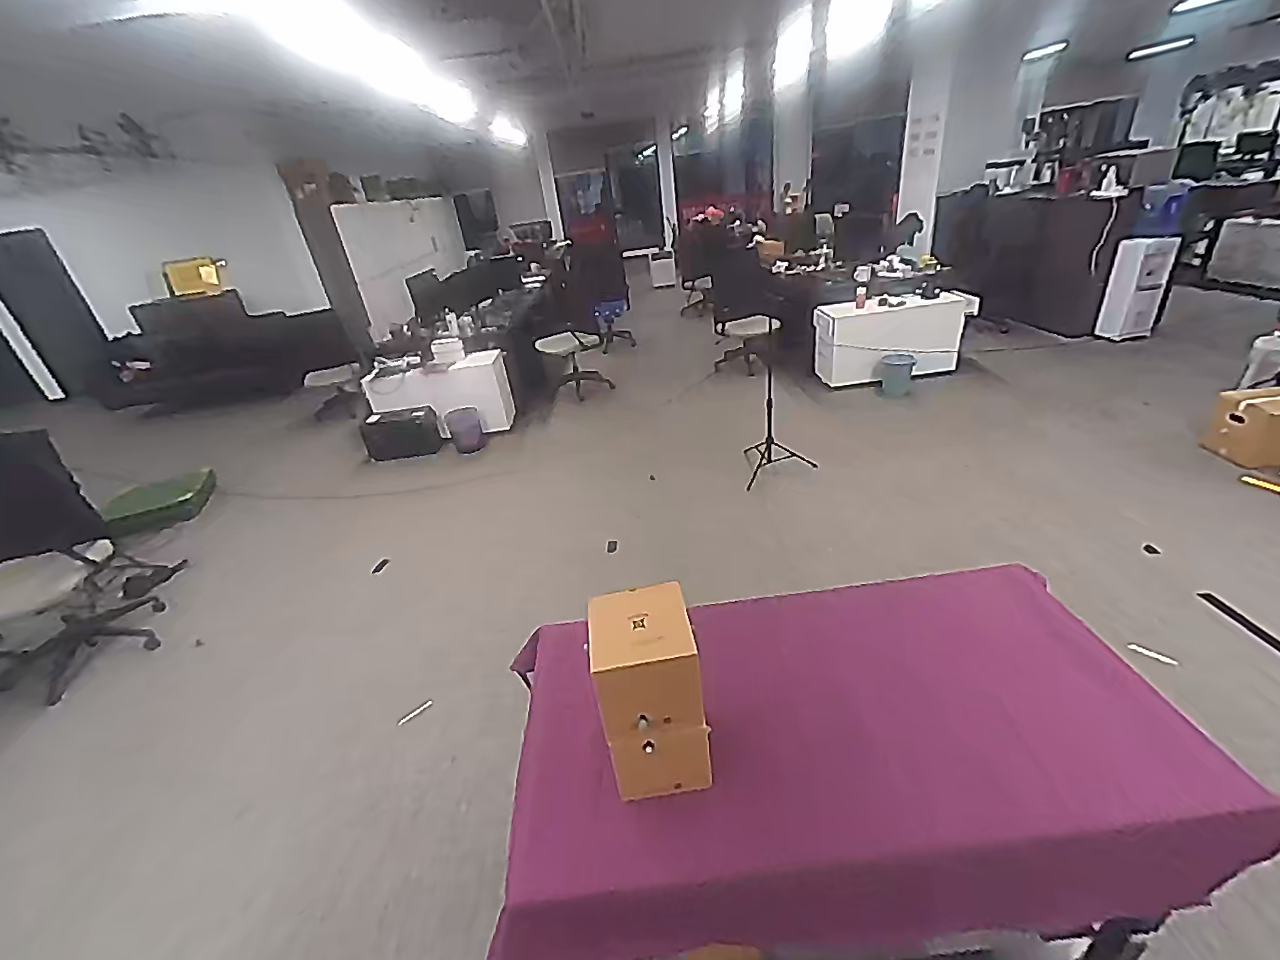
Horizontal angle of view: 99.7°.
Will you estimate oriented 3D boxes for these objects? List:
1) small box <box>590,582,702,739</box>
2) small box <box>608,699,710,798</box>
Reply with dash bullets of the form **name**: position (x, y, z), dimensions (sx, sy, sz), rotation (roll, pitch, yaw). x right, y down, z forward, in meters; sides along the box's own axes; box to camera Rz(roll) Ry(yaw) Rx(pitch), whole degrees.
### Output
- **small box**: position (0.008, 0.303, 0.920), dimensions (0.168, 0.176, 0.179), rotation (-9, 29, -2)
- **small box**: position (0.032, 0.446, 0.996), dimensions (0.168, 0.176, 0.179), rotation (-8, 28, -1)
